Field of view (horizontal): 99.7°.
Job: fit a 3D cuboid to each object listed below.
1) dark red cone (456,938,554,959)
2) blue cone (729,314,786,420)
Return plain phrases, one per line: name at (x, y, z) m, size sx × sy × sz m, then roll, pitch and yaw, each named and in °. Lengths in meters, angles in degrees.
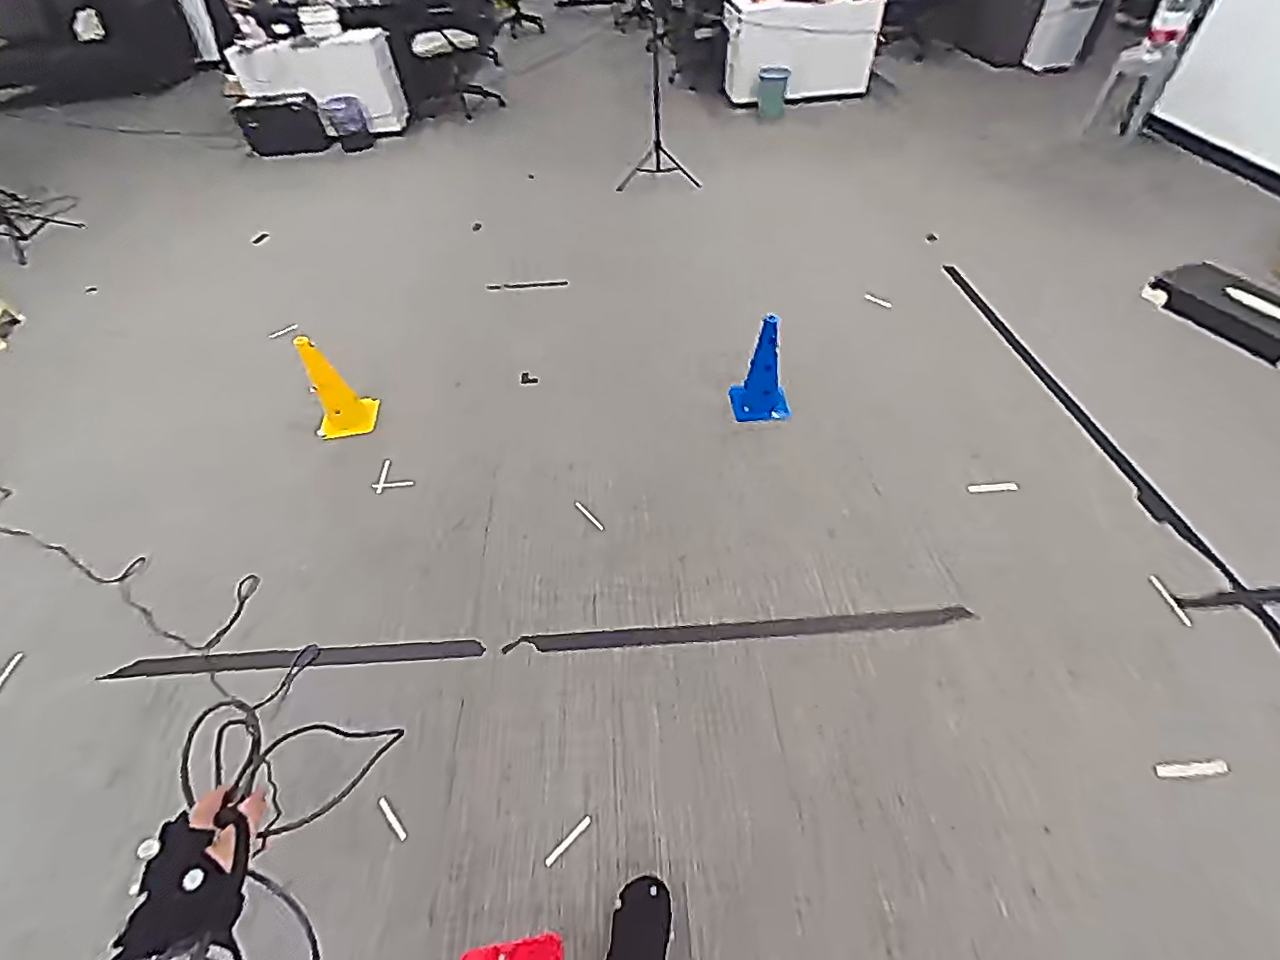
dark red cone at (-0.254, 0.830, 0.817) m, size 0.202 × 0.394 × 0.201 m, roll -10°, pitch 48°, yaw -5°
blue cone at (0.427, -0.395, 1.881) m, size 0.193 × 0.380 × 0.192 m, roll -4°, pitch 48°, yaw 1°
